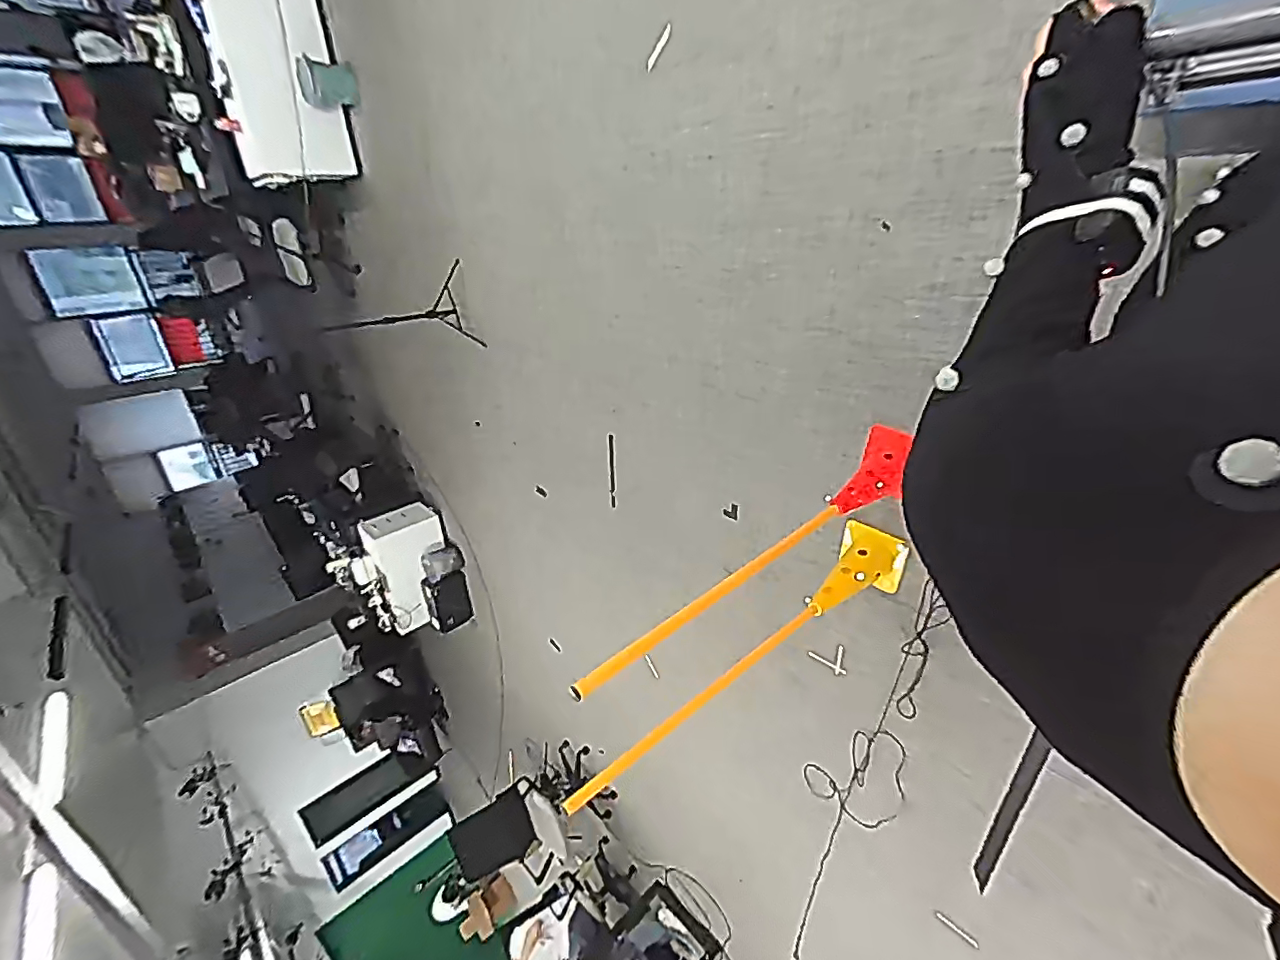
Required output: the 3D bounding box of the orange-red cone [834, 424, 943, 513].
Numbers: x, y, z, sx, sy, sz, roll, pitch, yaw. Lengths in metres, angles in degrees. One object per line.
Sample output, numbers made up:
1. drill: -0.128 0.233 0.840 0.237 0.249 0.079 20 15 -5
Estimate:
1. orange-red cone: 0.624 0.008 1.450 0.198 0.360 0.199 31 130 36
